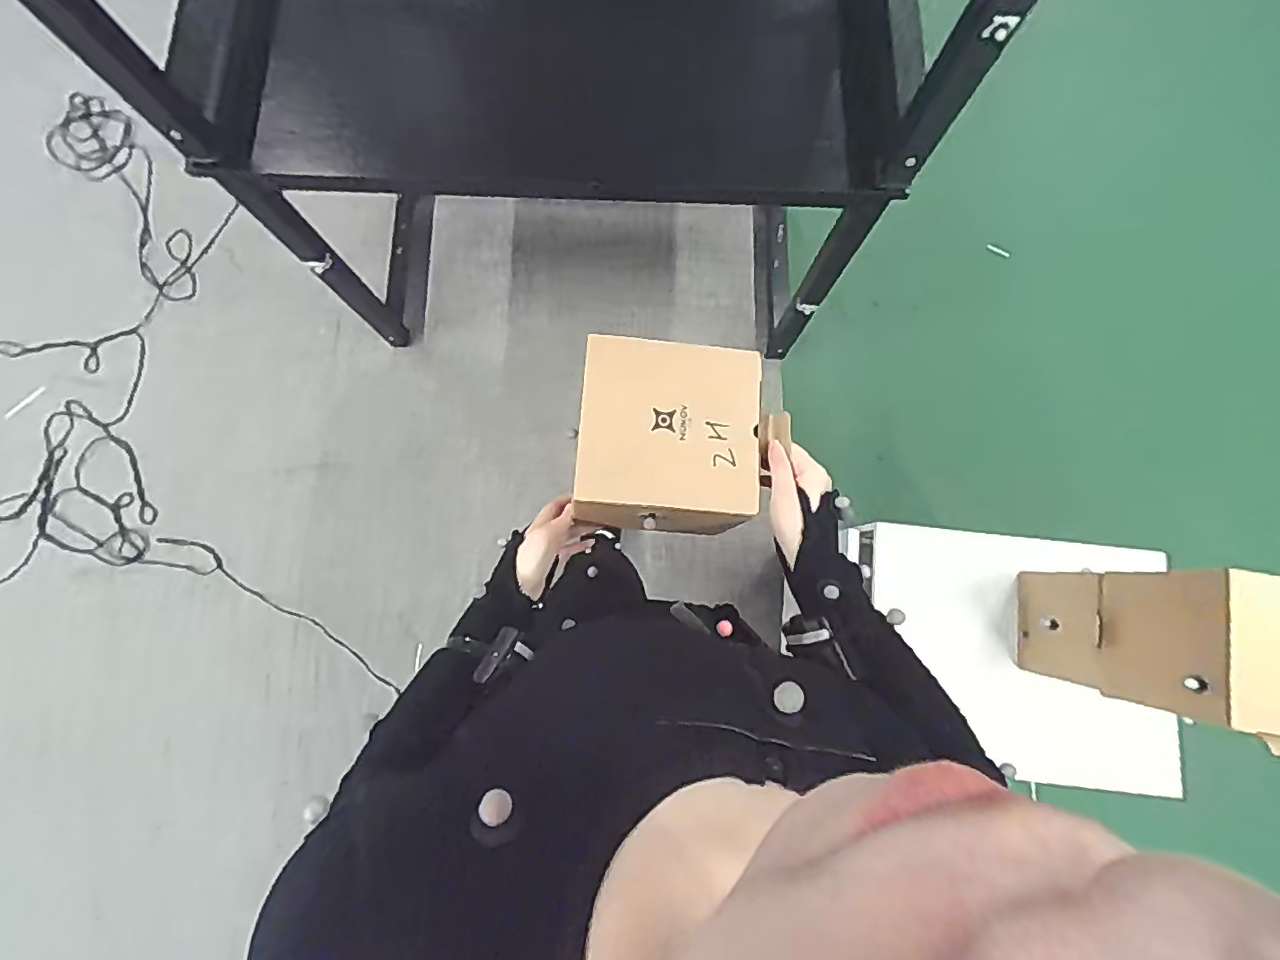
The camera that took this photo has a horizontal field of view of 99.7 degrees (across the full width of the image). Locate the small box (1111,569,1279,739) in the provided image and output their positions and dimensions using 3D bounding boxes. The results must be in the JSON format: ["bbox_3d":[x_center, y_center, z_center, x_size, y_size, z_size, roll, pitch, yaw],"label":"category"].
[{"bbox_3d":[0.723,0.207,0.656,0.168,0.176,0.179,9,81,1],"label":"small box"}]

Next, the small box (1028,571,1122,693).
[{"bbox_3d":[0.725,0.232,0.817,0.179,0.176,0.168,7,81,2],"label":"small box"}]

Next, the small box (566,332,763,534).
[{"bbox_3d":[0.019,-0.036,0.575,0.179,0.176,0.168,5,78,-6],"label":"small box"}]
